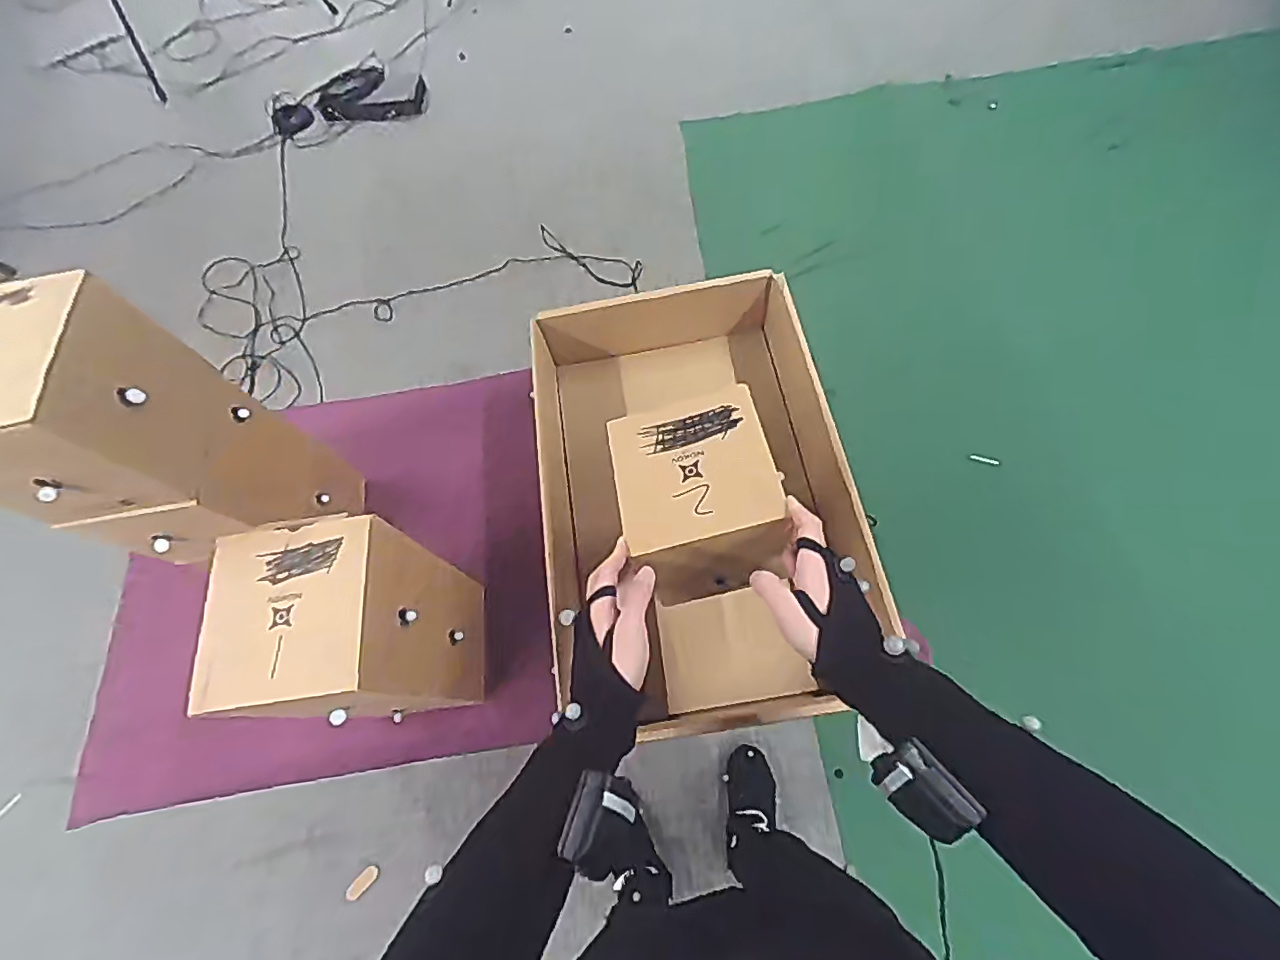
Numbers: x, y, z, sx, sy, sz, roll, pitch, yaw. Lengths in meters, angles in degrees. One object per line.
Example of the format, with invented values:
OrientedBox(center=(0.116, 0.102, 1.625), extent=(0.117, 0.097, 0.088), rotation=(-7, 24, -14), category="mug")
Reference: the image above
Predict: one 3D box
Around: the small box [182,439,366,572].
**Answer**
OrientedBox(center=(-0.557, 0.059, 0.850), extent=(0.168, 0.176, 0.179), rotation=(-9, 66, 0), category="small box")

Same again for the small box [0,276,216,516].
OrientedBox(center=(-0.583, -0.072, 0.553), extent=(0.168, 0.176, 0.179), rotation=(-10, 66, 0), category="small box")

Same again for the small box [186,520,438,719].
OrientedBox(center=(-0.340, 0.162, 0.602), extent=(0.168, 0.176, 0.179), rotation=(-8, 65, 2), category="small box")

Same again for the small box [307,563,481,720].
OrientedBox(center=(-0.327, 0.229, 0.751), extent=(0.168, 0.176, 0.179), rotation=(-8, 65, 1), category="small box")

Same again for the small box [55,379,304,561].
OrientedBox(center=(-0.570, -0.001, 0.701), extent=(0.168, 0.176, 0.179), rotation=(-9, 66, 1), category="small box")
